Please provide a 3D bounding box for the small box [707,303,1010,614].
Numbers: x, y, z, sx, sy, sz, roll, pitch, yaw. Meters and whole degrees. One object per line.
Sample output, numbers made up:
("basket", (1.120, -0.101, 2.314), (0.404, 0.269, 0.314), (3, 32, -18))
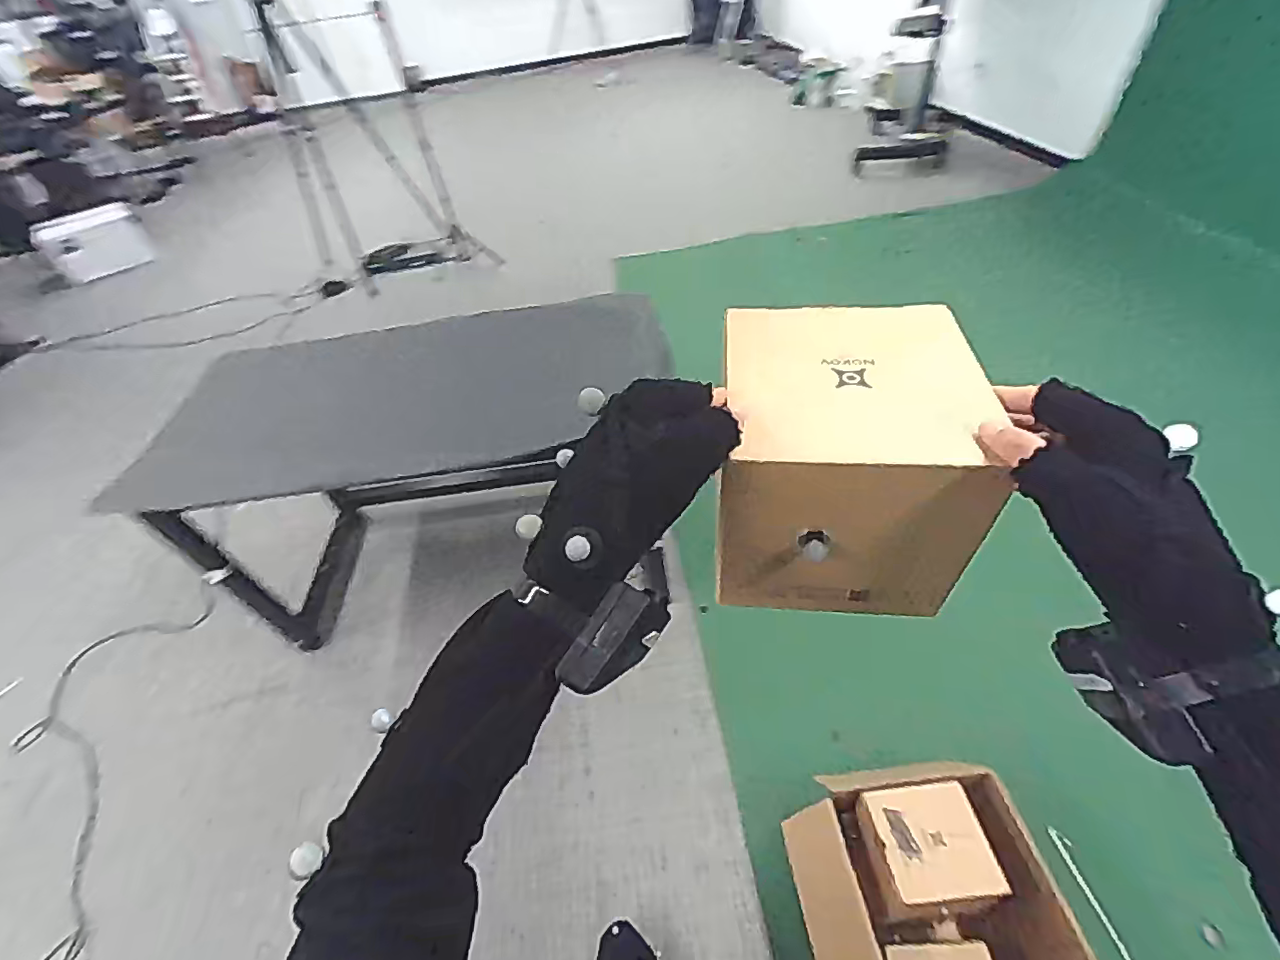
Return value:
("small box", (0.135, -0.013, 0.414), (0.168, 0.176, 0.179), (0, 46, 7))
